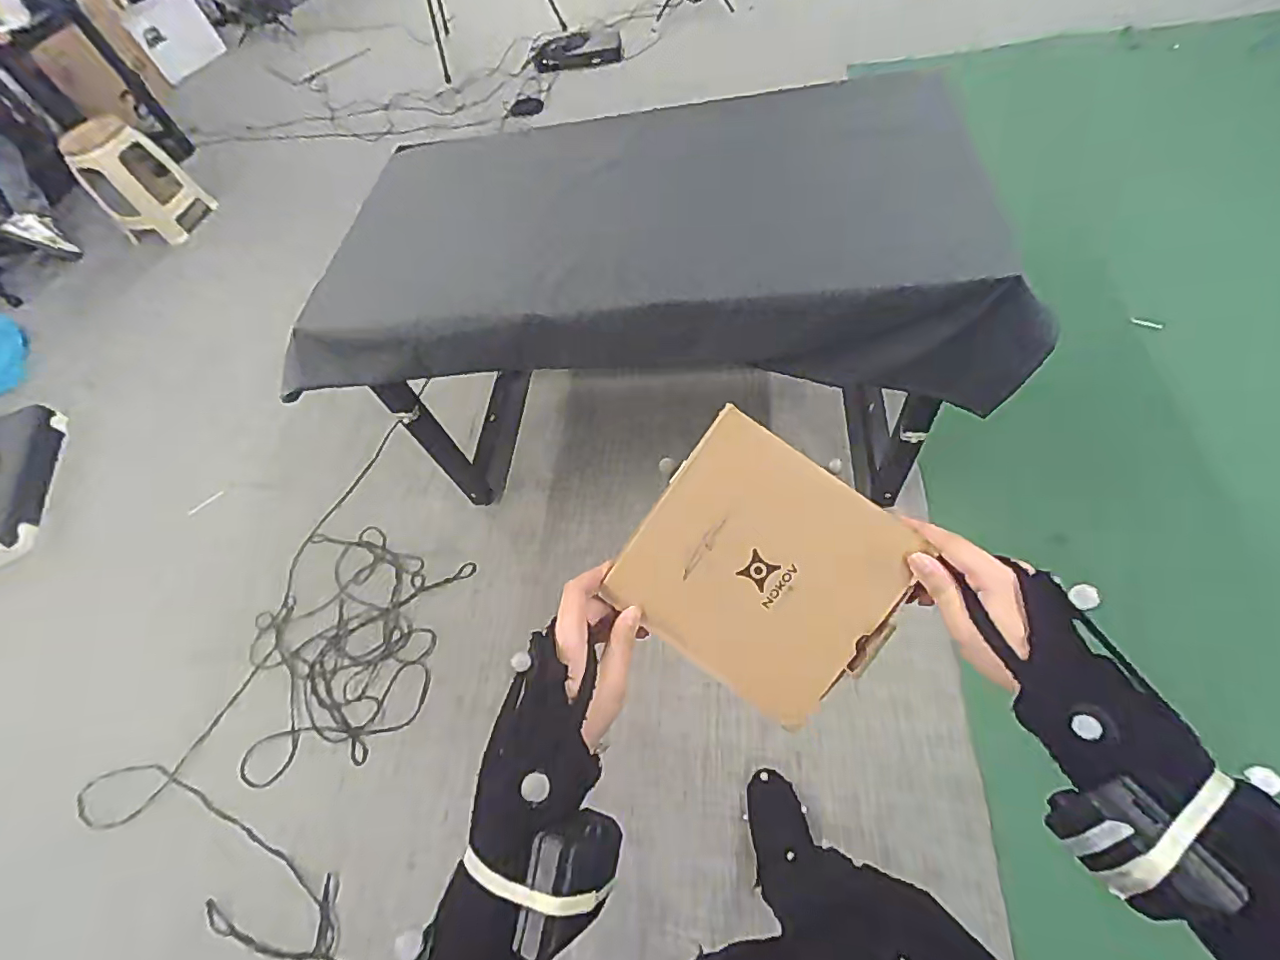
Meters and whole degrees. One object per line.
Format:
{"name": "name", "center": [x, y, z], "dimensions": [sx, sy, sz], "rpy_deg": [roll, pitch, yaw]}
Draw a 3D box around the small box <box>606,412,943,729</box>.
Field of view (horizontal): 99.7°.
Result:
{"name": "small box", "center": [0.099, 0.058, 0.455], "dimensions": [0.179, 0.176, 0.168], "rpy_deg": [35, 97, 3]}
